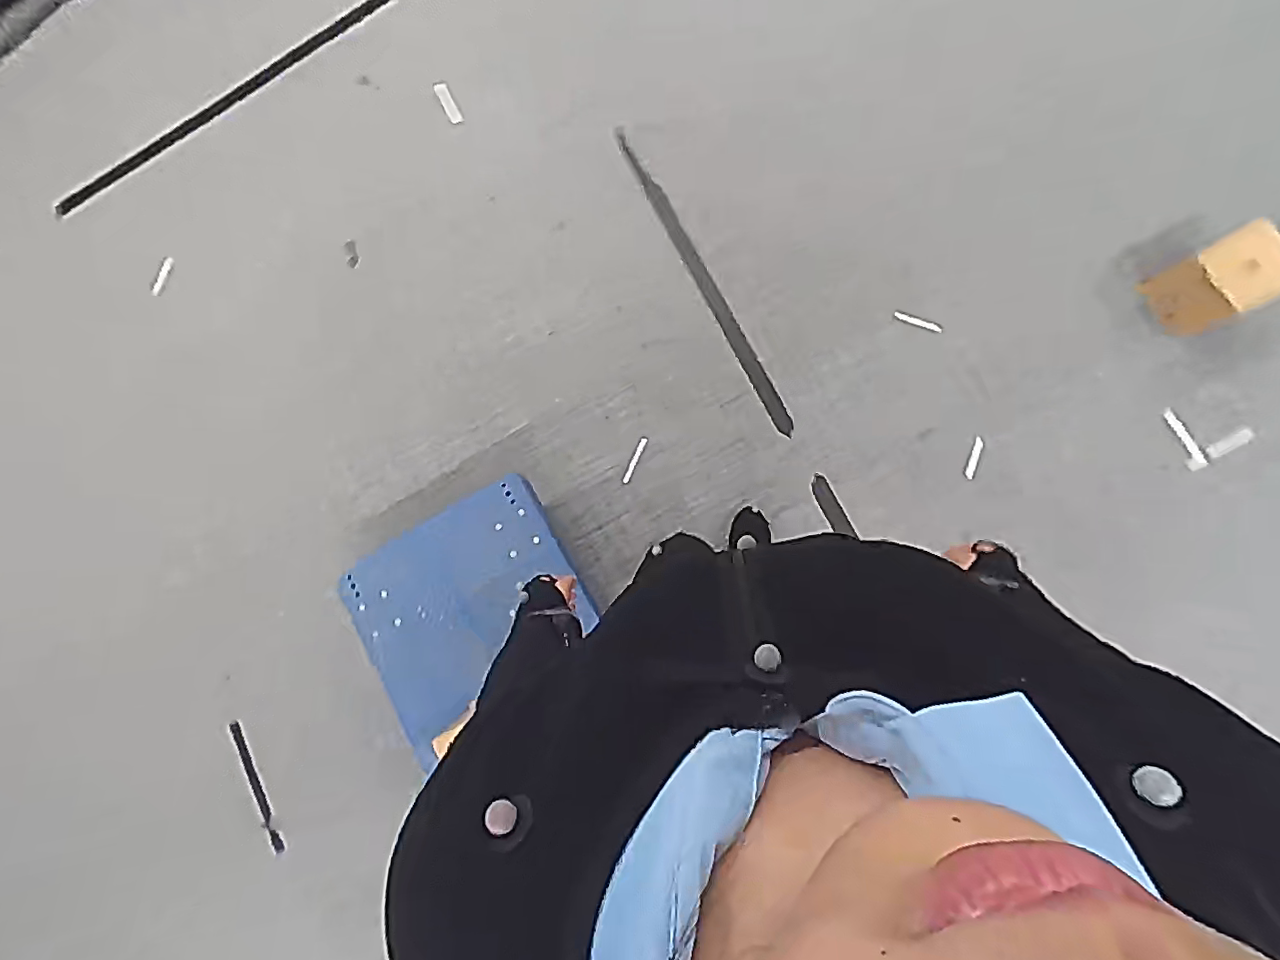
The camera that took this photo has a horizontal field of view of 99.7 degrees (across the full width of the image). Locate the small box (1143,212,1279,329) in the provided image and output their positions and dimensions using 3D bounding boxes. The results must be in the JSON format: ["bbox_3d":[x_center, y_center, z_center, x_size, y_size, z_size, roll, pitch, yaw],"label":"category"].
[{"bbox_3d":[1.413,-0.503,1.322,0.179,0.176,0.168,-31,83,4],"label":"small box"}]
